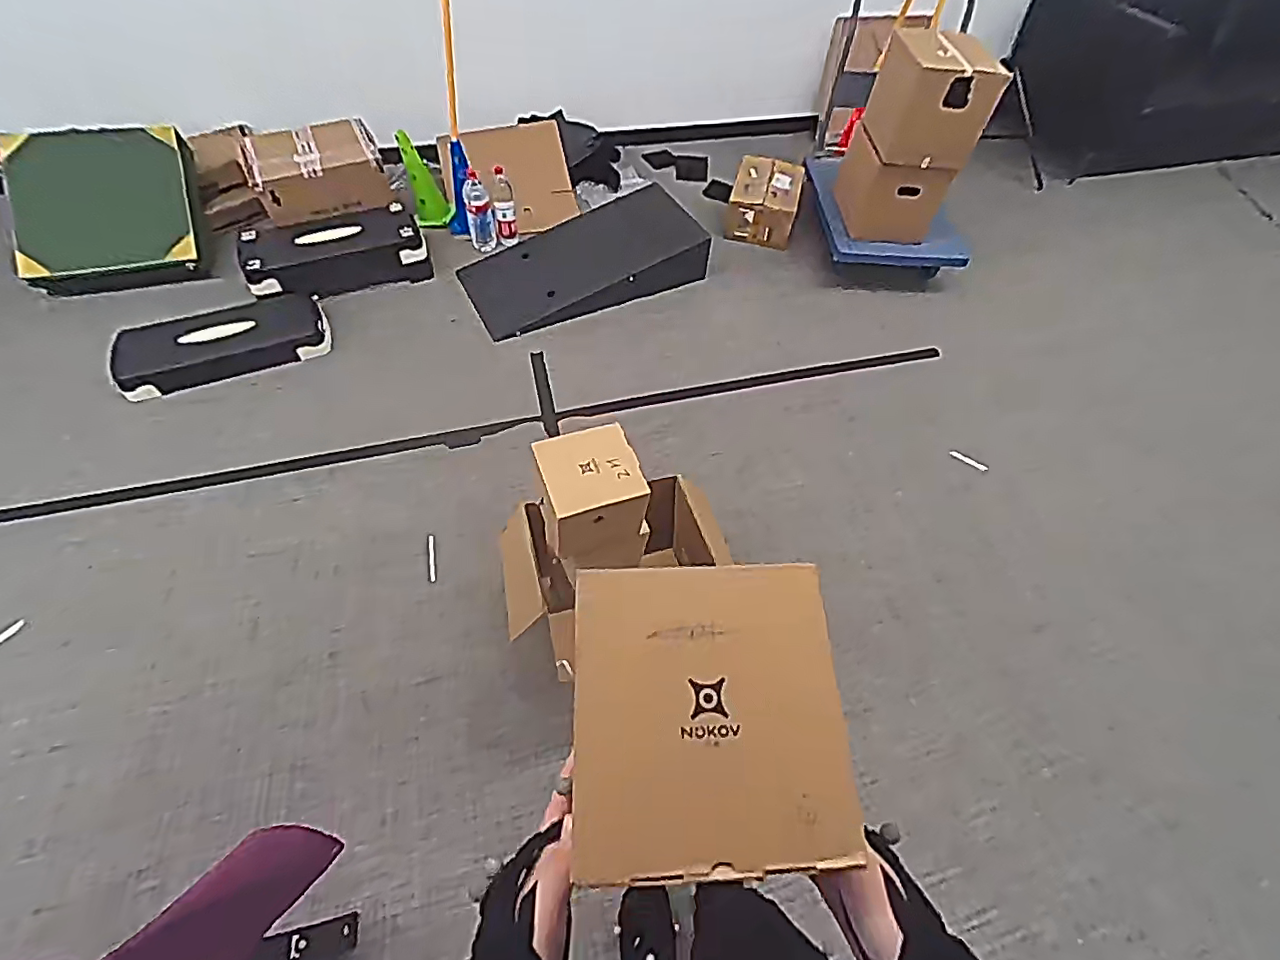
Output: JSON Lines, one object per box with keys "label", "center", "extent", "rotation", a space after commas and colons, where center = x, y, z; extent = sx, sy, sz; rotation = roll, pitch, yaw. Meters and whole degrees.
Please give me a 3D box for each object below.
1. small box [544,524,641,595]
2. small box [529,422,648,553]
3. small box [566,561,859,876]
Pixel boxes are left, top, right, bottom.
{"label": "small box", "center": [-0.118, 0.171, 1.328], "extent": [0.179, 0.176, 0.168], "rotation": [-28, 65, -24]}
{"label": "small box", "center": [-0.102, 0.019, 1.034], "extent": [0.179, 0.176, 0.168], "rotation": [-15, 62, -17]}
{"label": "small box", "center": [0.036, 0.168, 0.403], "extent": [0.168, 0.176, 0.179], "rotation": [0, 64, -4]}
